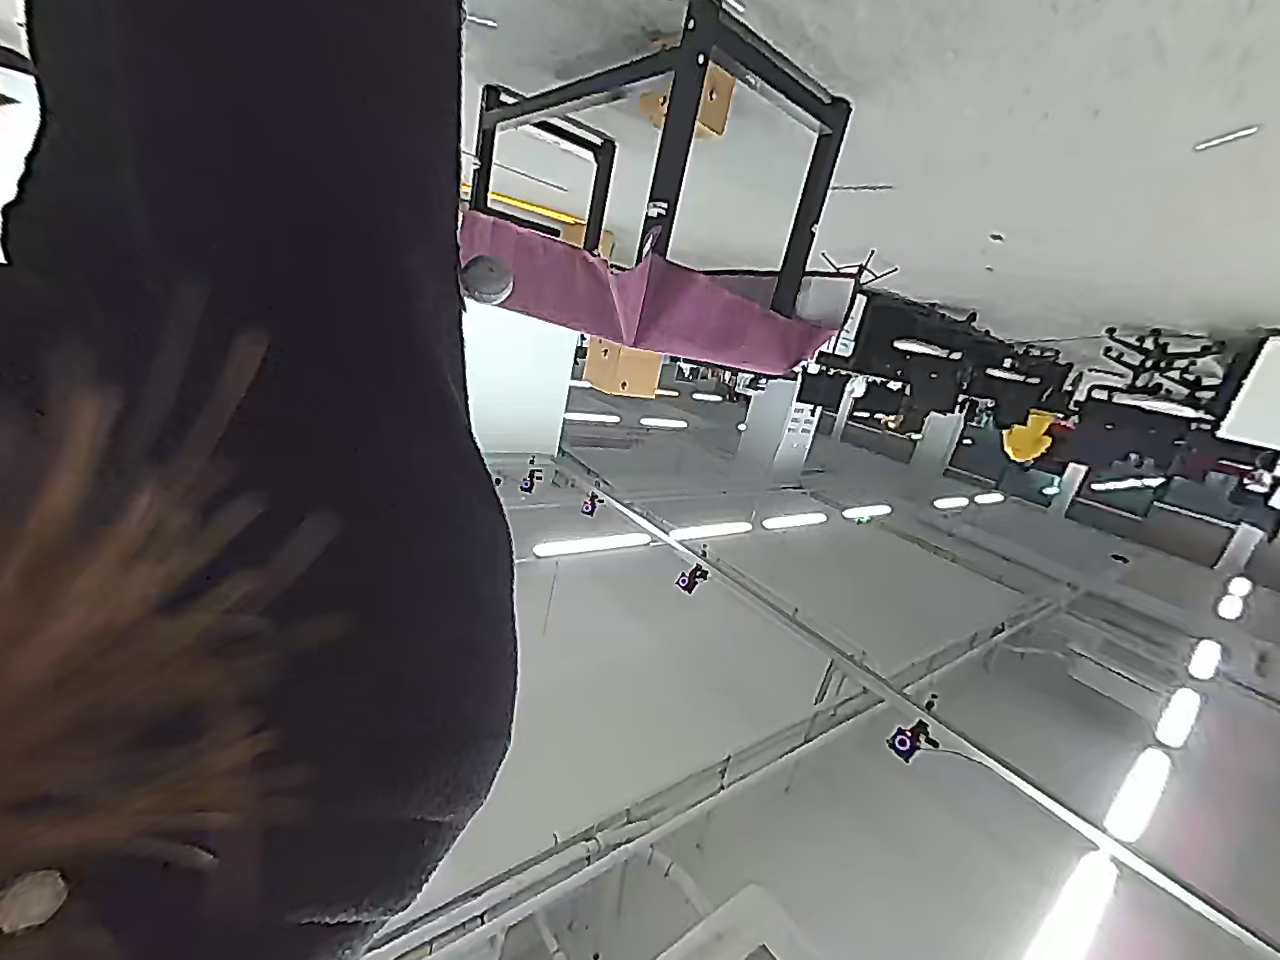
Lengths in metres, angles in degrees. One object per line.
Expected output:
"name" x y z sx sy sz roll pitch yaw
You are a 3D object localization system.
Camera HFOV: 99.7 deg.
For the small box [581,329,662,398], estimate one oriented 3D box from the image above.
"small box" -0.054 -0.361 1.678 0.179 0.176 0.168 -2 -158 -40
